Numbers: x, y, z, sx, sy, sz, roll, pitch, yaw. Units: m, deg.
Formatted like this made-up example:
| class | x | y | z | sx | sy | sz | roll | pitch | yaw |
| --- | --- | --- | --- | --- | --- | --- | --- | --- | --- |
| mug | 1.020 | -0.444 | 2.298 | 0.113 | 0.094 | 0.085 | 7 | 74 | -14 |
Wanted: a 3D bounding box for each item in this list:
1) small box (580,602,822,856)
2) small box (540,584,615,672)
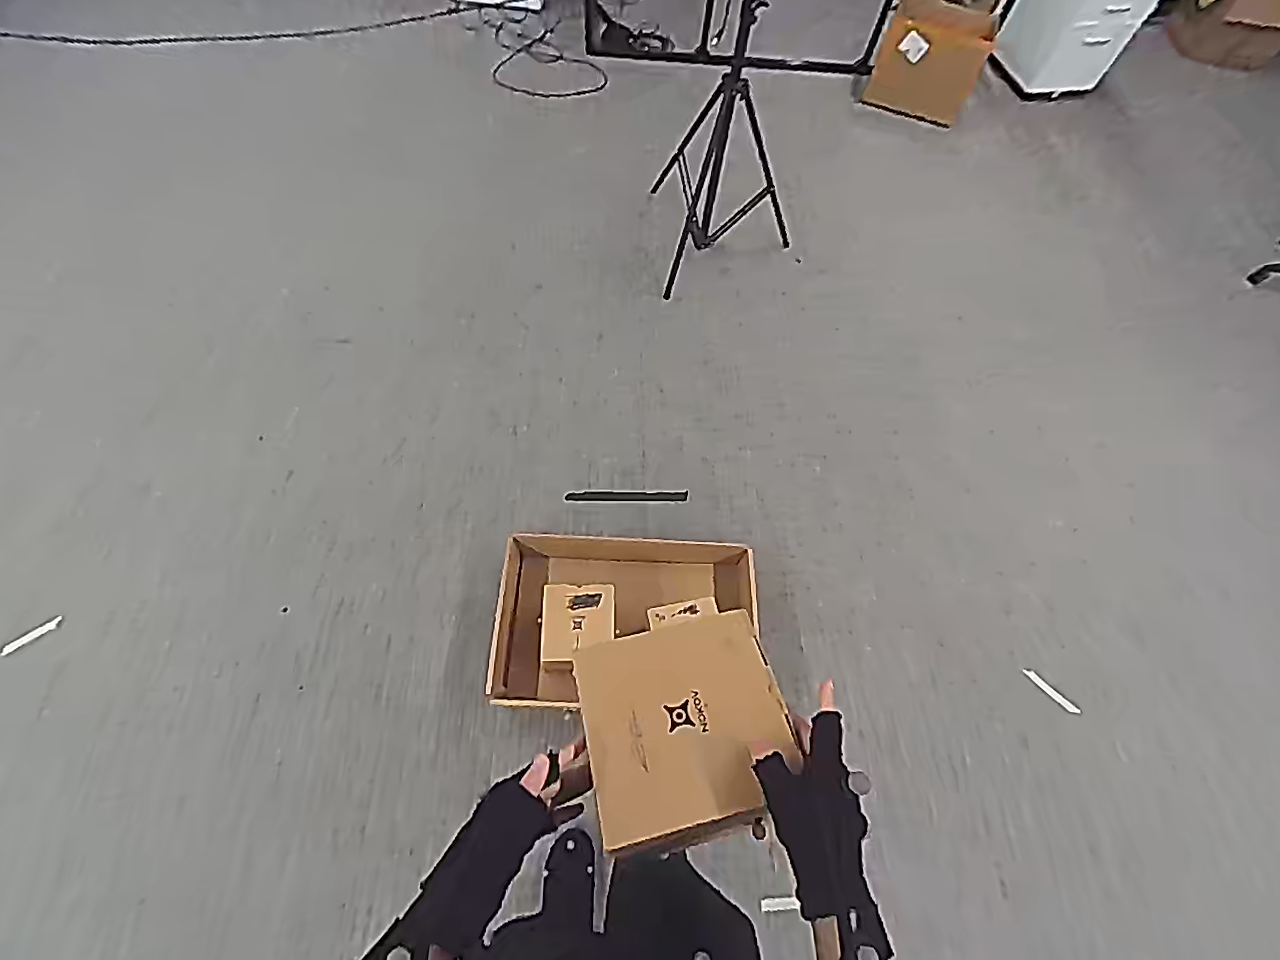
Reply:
| class | x | y | z | sx | sy | sz | roll | pitch | yaw |
| --- | --- | --- | --- | --- | --- | --- | --- | --- | --- |
| small box | 0.048 | 0.246 | 0.531 | 0.179 | 0.176 | 0.168 | -13 | 51 | -6 |
| small box | -0.147 | 0.359 | 1.300 | 0.168 | 0.176 | 0.179 | 1 | 63 | -5 |
